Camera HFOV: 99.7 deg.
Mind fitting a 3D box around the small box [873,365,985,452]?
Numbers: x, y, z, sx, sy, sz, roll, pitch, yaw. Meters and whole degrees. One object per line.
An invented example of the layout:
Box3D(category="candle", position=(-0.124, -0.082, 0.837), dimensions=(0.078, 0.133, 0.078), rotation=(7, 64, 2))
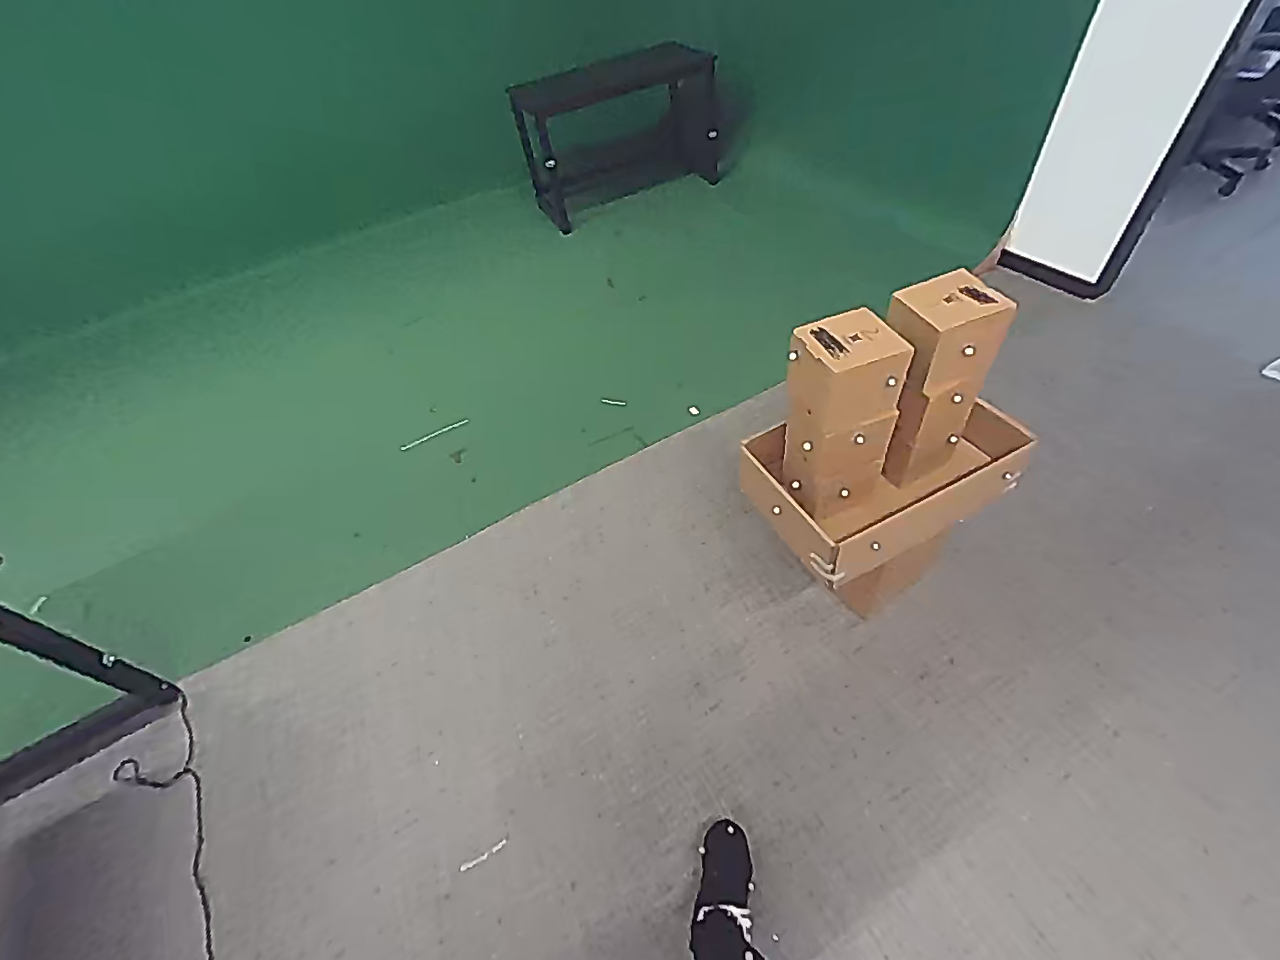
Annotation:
Box3D(category="small box", position=(0.685, -0.202, 1.318), dimensions=(0.179, 0.176, 0.168), rotation=(-27, 50, -11))

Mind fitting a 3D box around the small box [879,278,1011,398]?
Box3D(category="small box", position=(0.662, -0.313, 1.199), dimensions=(0.179, 0.176, 0.168), rotation=(-20, 49, -4))

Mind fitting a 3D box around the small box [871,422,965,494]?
Box3D(category="small box", position=(0.712, -0.097, 1.438), dimensions=(0.179, 0.176, 0.168), rotation=(-27, 49, -11))

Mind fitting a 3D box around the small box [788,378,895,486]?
Box3D(category="small box", position=(0.460, -0.108, 1.271), dimensions=(0.179, 0.176, 0.168), rotation=(-16, 48, -6))
